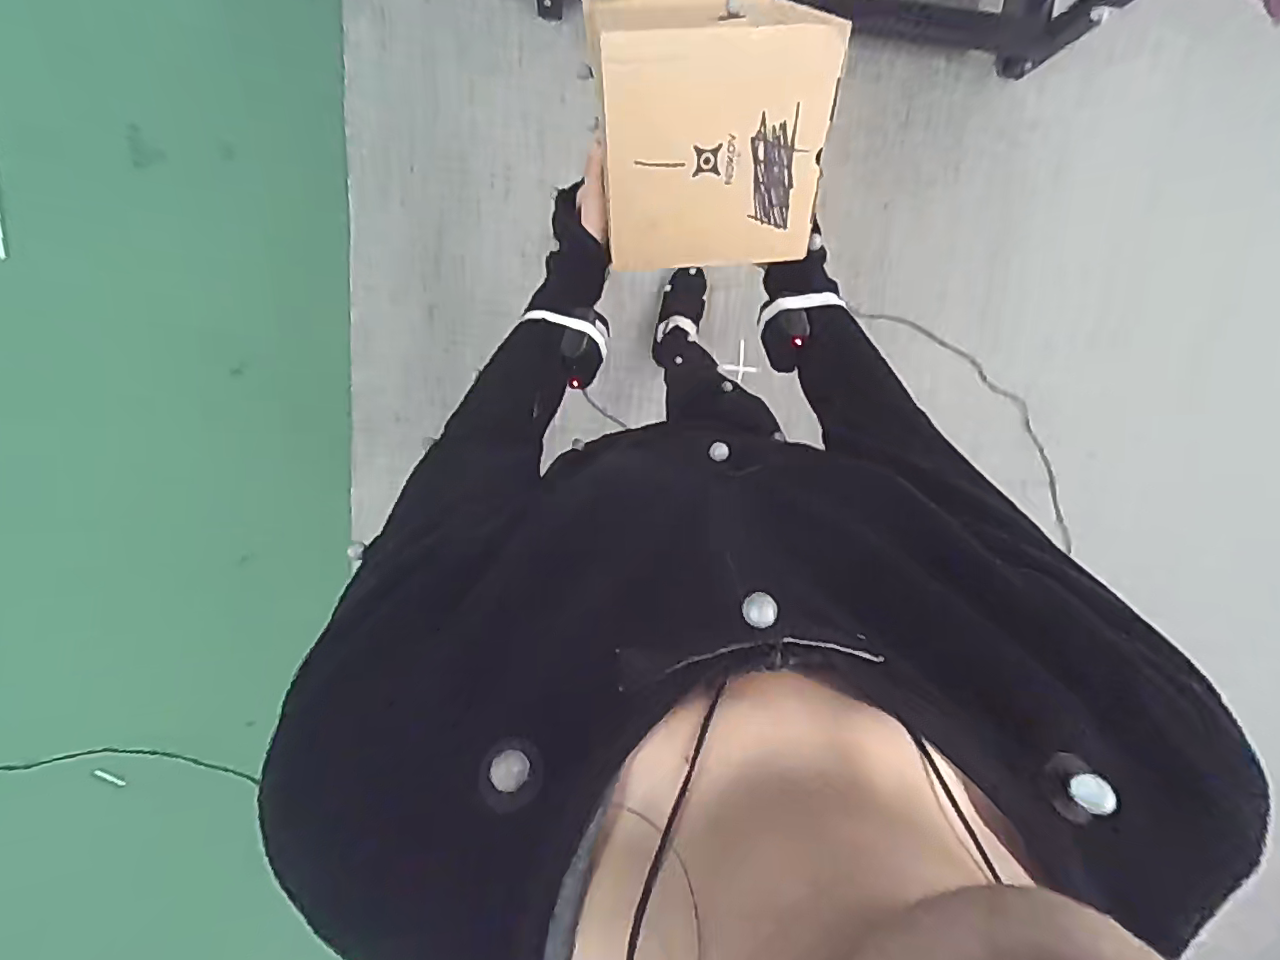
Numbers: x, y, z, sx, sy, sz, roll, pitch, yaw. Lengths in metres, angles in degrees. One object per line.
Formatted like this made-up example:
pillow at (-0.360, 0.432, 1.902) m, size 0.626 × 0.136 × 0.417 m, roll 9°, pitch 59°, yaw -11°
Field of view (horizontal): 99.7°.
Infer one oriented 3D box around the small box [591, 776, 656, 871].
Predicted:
small box at (-0.048, 0.975, 1.545) m, size 0.179 × 0.176 × 0.168 m, roll -1°, pitch 101°, yaw -1°

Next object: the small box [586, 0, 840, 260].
small box at (0.047, -0.317, 0.482) m, size 0.179 × 0.176 × 0.168 m, roll -4°, pitch 136°, yaw -2°

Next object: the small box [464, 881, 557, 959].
small box at (-0.286, 1.039, 1.208) m, size 0.179 × 0.176 × 0.168 m, roll 4°, pitch 102°, yaw -4°
